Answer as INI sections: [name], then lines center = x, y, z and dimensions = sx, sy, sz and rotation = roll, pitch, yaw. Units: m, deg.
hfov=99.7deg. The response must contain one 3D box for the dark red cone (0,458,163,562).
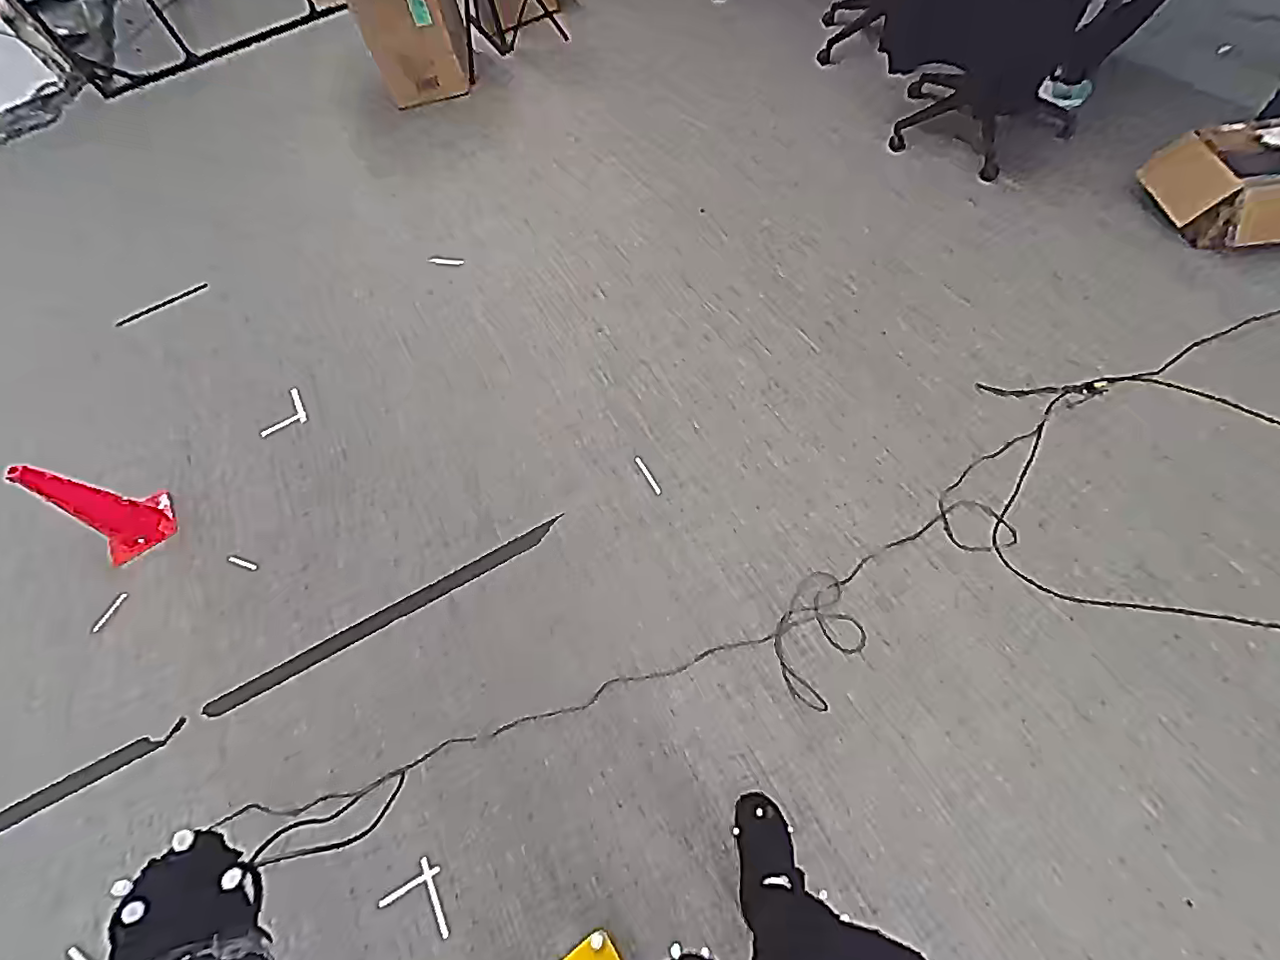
[dark red cone]
center = -1.601, 0.057, 1.524
dimensions = 0.202, 0.394, 0.201
rotation = -36, 62, -12
